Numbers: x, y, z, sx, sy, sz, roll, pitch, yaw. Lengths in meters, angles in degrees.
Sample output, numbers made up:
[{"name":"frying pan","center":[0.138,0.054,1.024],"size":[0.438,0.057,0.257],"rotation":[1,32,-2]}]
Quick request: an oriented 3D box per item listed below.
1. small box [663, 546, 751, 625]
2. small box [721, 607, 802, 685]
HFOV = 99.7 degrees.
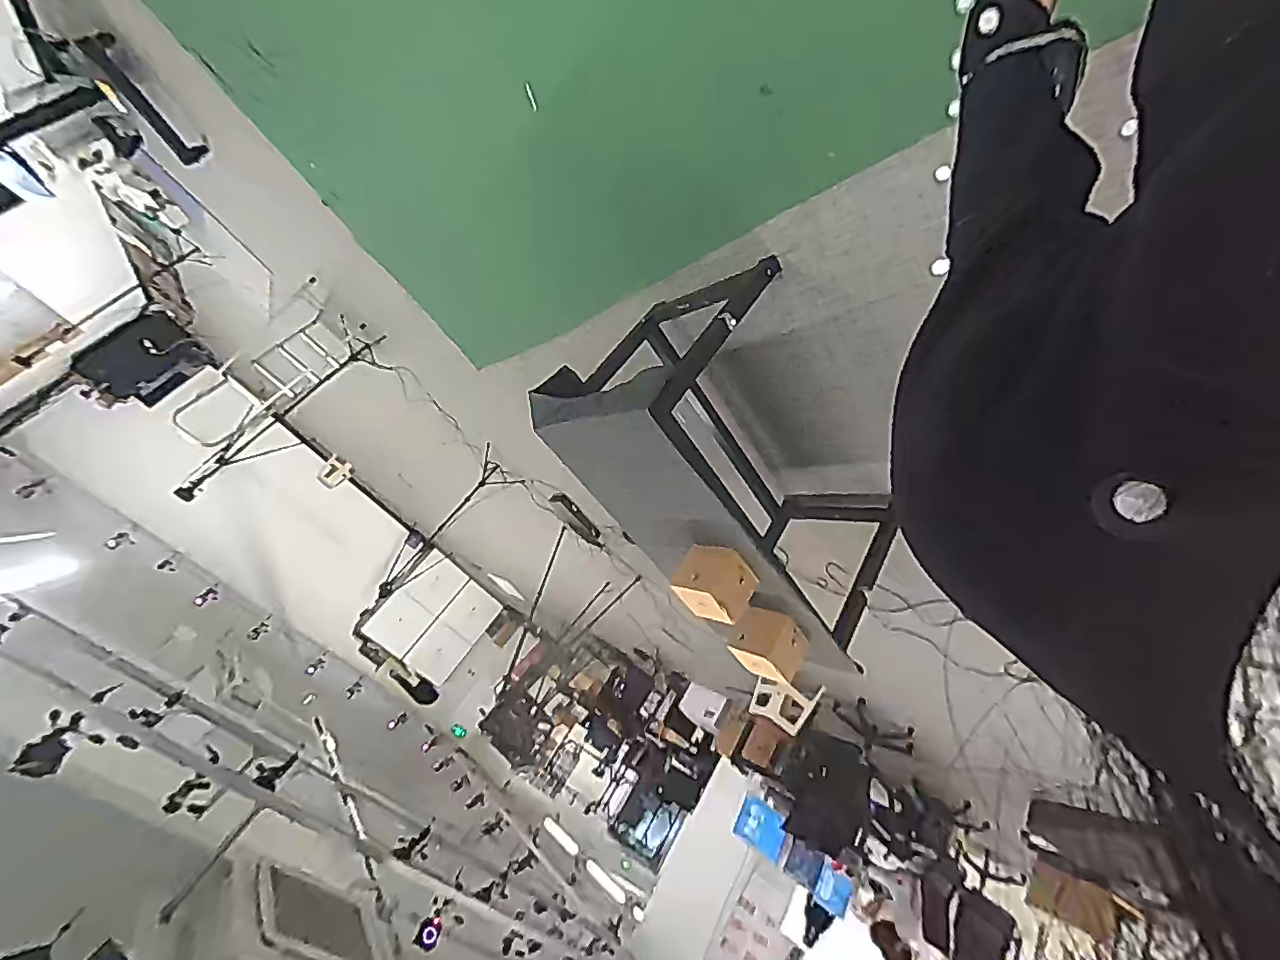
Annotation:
[{"name":"small box","center":[0.211,0.319,1.674],"size":[0.179,0.176,0.168],"rotation":[-2,135,50]},{"name":"small box","center":[0.411,0.548,1.809],"size":[0.179,0.176,0.168],"rotation":[0,137,49]}]
